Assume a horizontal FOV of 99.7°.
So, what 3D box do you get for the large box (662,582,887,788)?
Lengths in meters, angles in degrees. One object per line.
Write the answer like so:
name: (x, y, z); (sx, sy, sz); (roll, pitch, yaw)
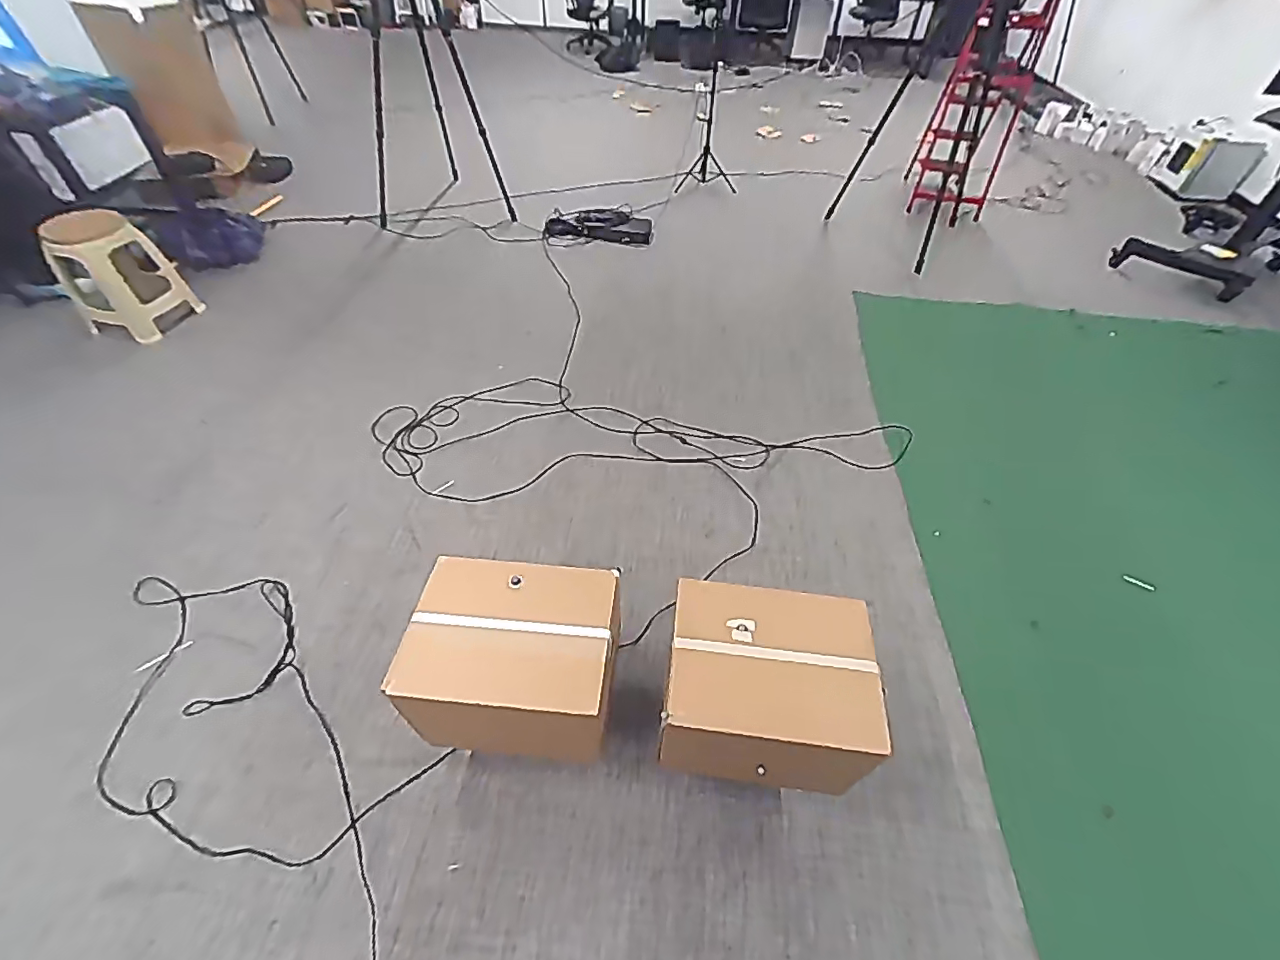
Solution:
large box: (0.267, 0.456, 1.194); (0.408, 0.320, 0.320); (6, 48, 5)
